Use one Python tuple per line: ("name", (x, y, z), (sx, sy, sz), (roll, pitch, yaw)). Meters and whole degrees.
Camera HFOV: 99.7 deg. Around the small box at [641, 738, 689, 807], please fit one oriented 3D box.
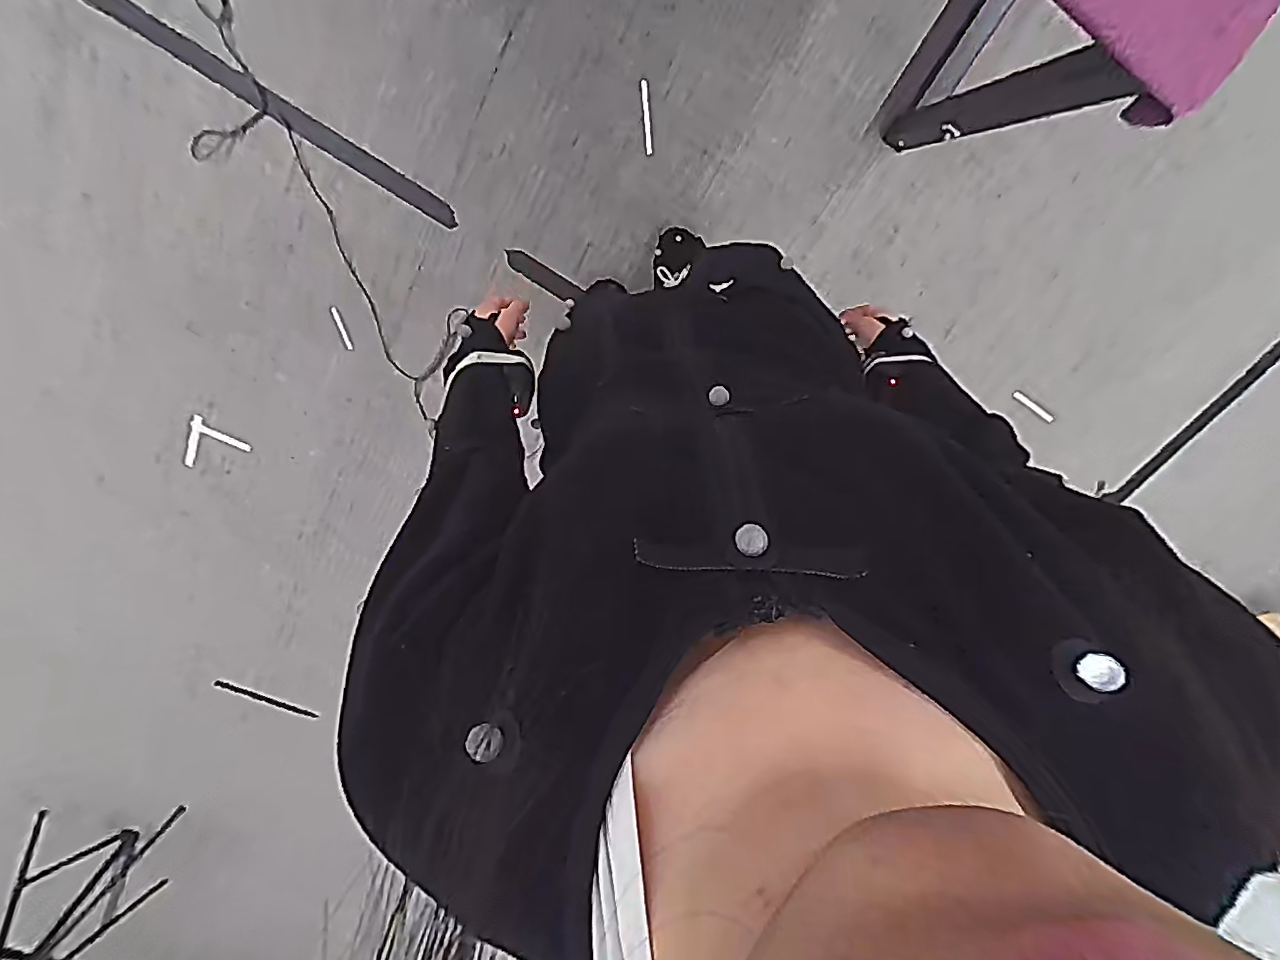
("small box", (0.094, 1.104, 2.054), (0.168, 0.176, 0.179), (-5, 118, 3))
